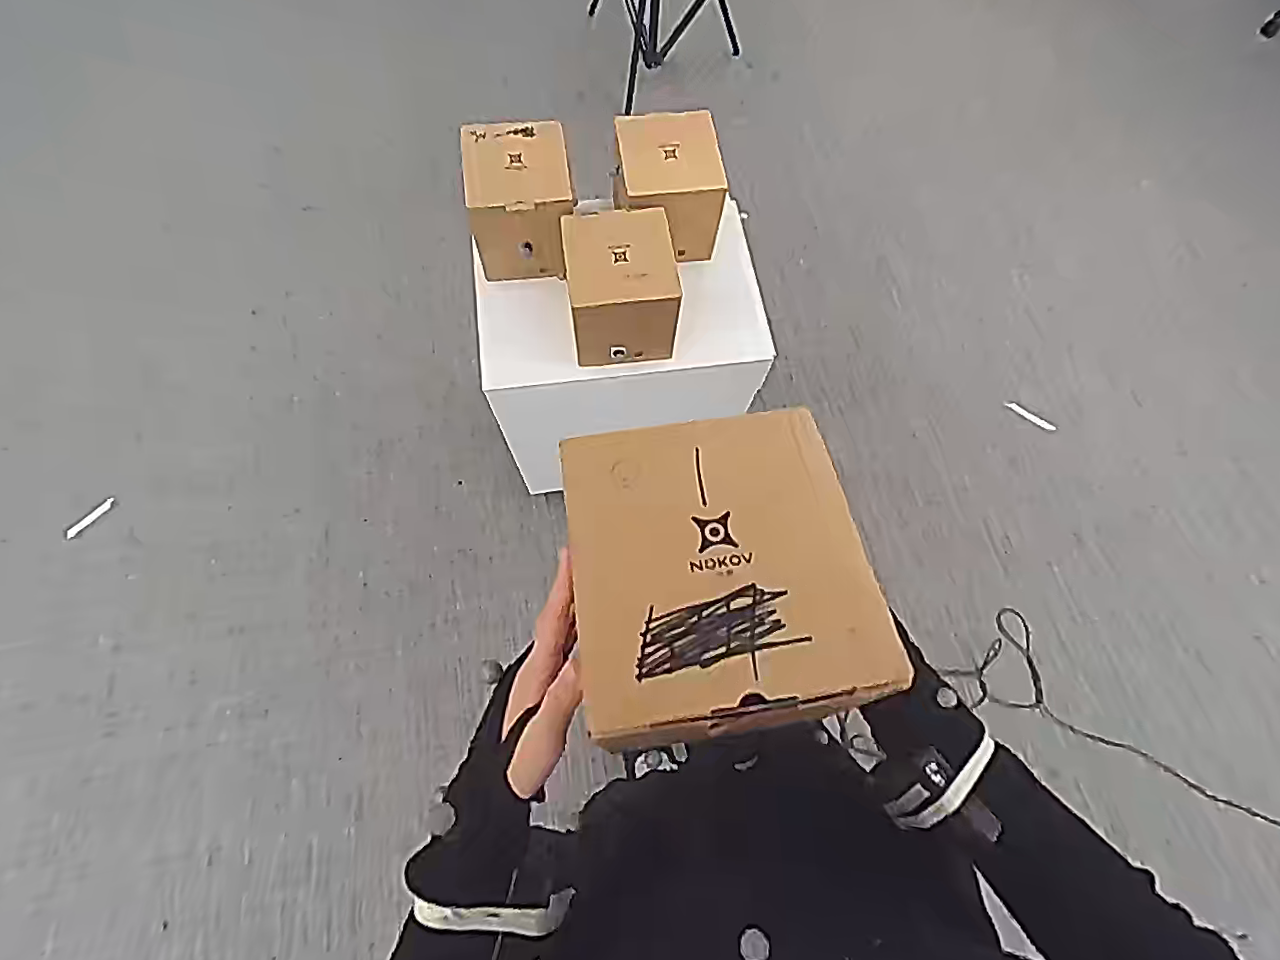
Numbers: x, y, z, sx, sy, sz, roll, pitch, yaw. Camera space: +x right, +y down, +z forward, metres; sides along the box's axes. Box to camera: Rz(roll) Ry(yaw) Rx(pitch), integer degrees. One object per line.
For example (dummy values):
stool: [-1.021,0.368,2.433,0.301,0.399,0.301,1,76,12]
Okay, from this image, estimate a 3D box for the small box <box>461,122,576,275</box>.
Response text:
small box: [-0.202,-0.475,0.934,0.168,0.176,0.179,-7,73,-7]

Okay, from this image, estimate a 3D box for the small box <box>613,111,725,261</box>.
small box: [0.045,-0.510,0.962,0.168,0.176,0.179,-7,72,-5]

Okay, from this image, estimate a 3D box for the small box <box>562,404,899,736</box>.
small box: [0.043,0.074,0.379,0.168,0.176,0.179,-8,60,-4]
